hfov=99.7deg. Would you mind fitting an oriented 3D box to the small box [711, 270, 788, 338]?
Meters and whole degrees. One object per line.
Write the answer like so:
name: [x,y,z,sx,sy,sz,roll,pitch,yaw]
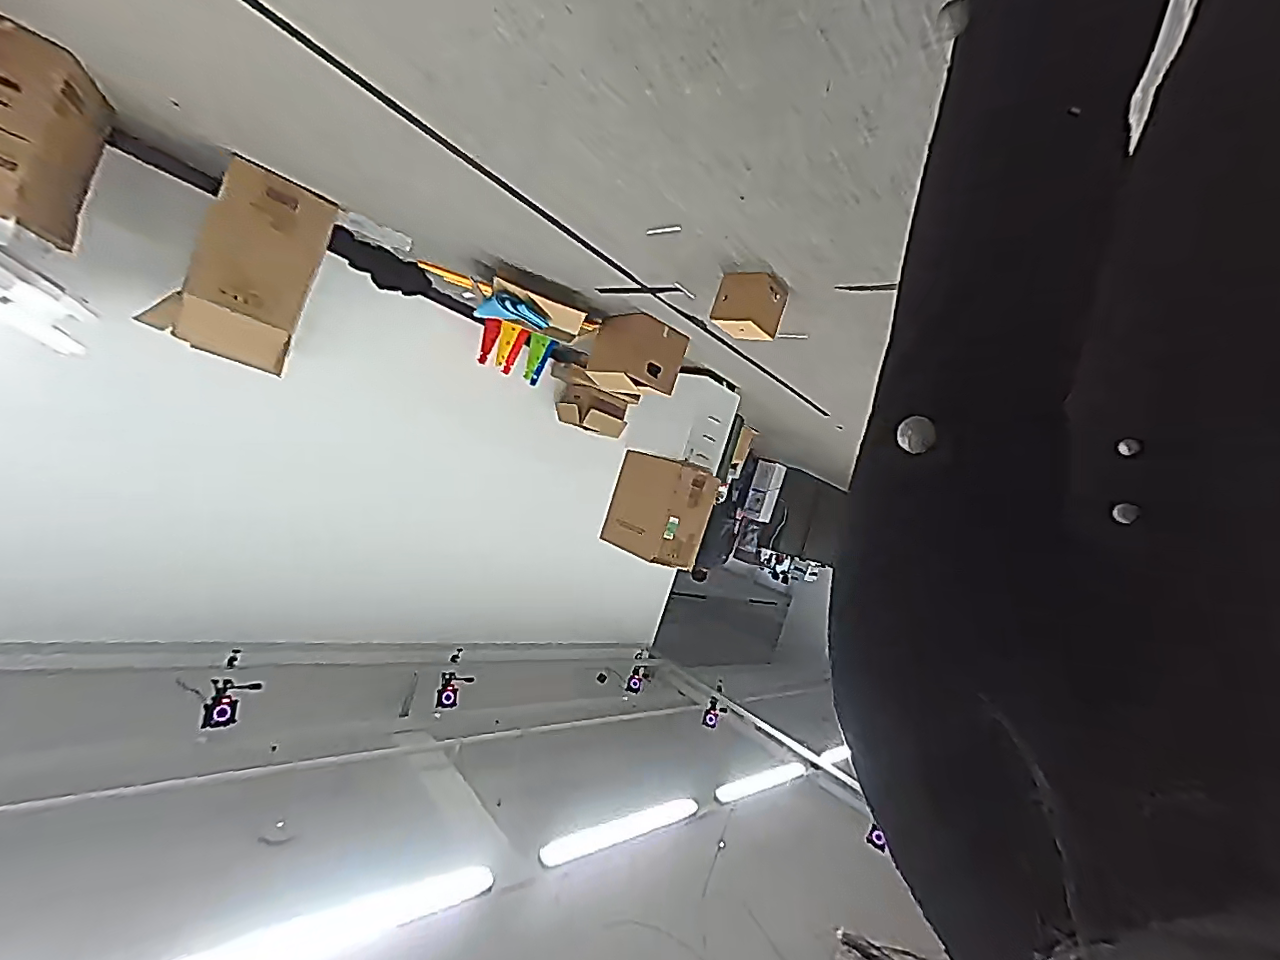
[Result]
small box: [0.378,-0.600,1.850,0.179,0.176,0.168,17,180,45]
